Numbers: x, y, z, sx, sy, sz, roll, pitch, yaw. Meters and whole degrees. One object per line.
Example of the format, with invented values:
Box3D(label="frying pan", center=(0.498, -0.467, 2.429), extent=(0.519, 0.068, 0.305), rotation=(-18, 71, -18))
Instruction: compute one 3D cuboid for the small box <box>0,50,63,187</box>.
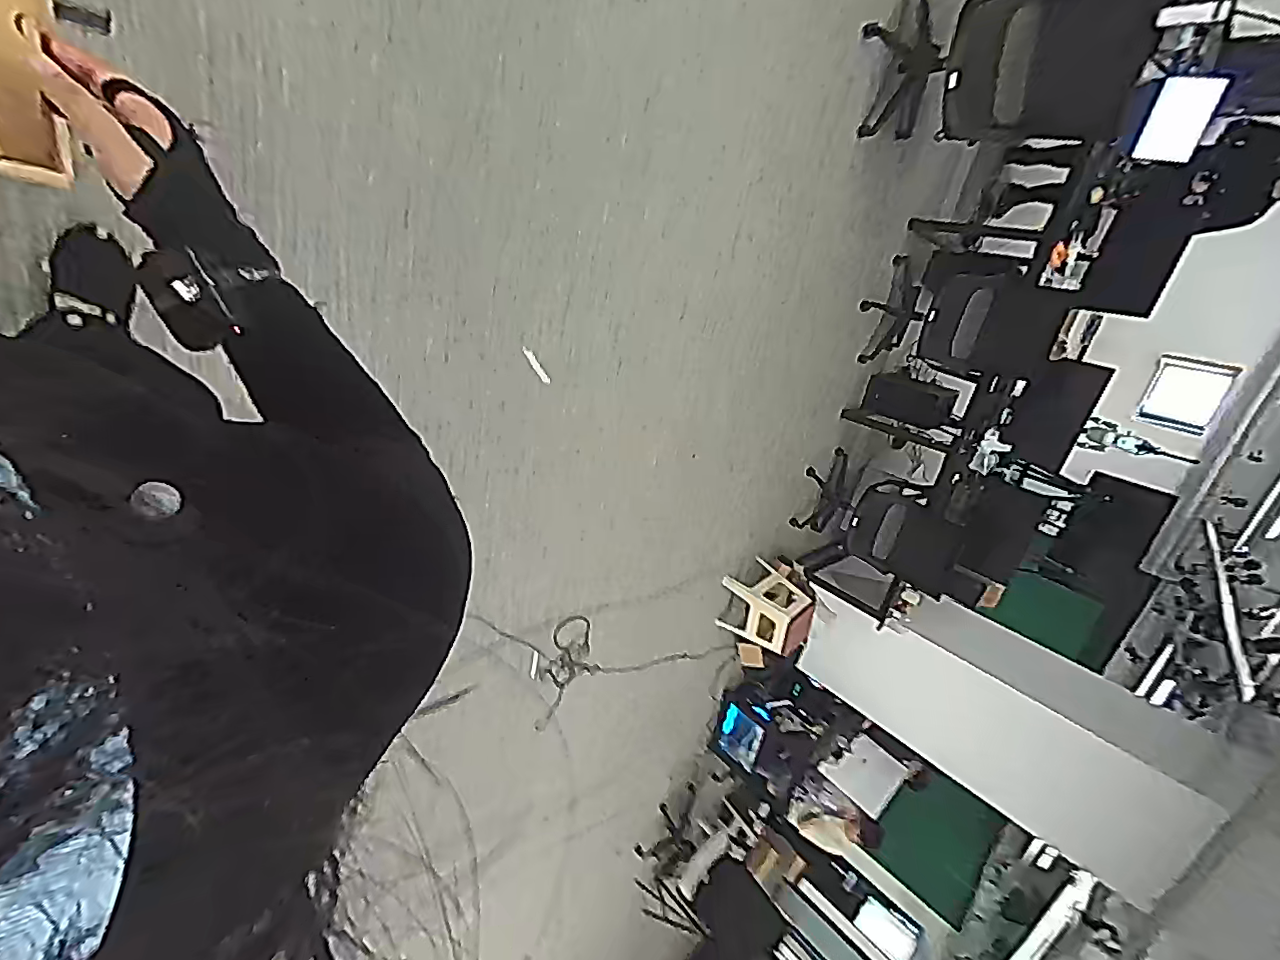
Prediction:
Box3D(label="small box", center=(-0.870, -0.503, 0.700), extent=(0.168, 0.176, 0.179), rotation=(-4, 114, -47))

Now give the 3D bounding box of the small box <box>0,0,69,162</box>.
Box3D(label="small box", center=(-0.500, -0.315, 0.342), extent=(0.179, 0.176, 0.168), rotation=(-6, 116, -43))
